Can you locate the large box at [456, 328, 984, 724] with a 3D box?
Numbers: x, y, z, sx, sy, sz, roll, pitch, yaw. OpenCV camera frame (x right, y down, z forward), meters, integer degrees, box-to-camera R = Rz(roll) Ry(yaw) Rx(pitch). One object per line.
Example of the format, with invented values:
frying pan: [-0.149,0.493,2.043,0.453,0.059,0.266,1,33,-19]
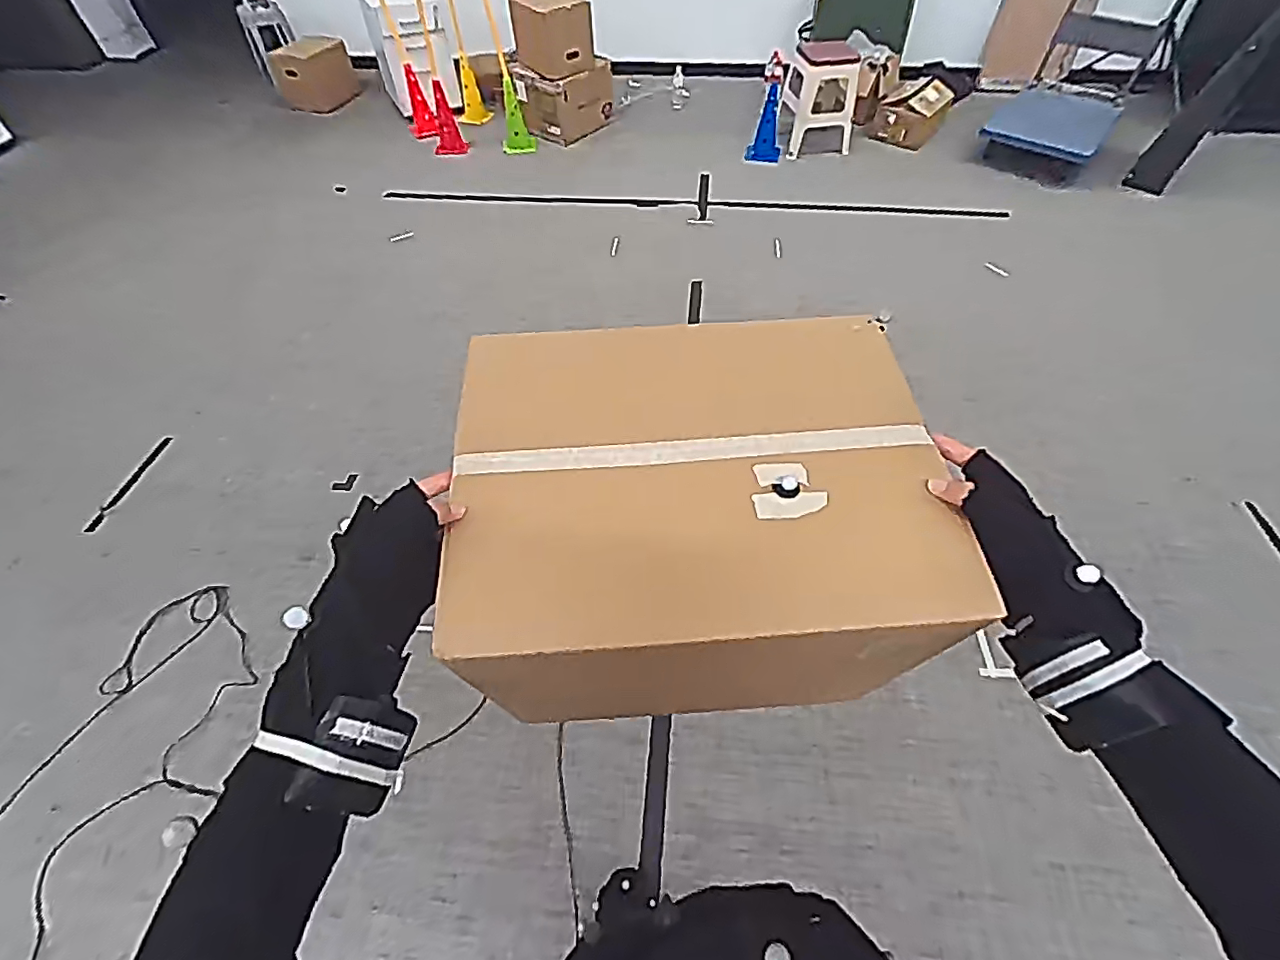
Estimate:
large box: [0.048,0.064,0.598,0.408,0.320,0.320,-4,58,-3]
